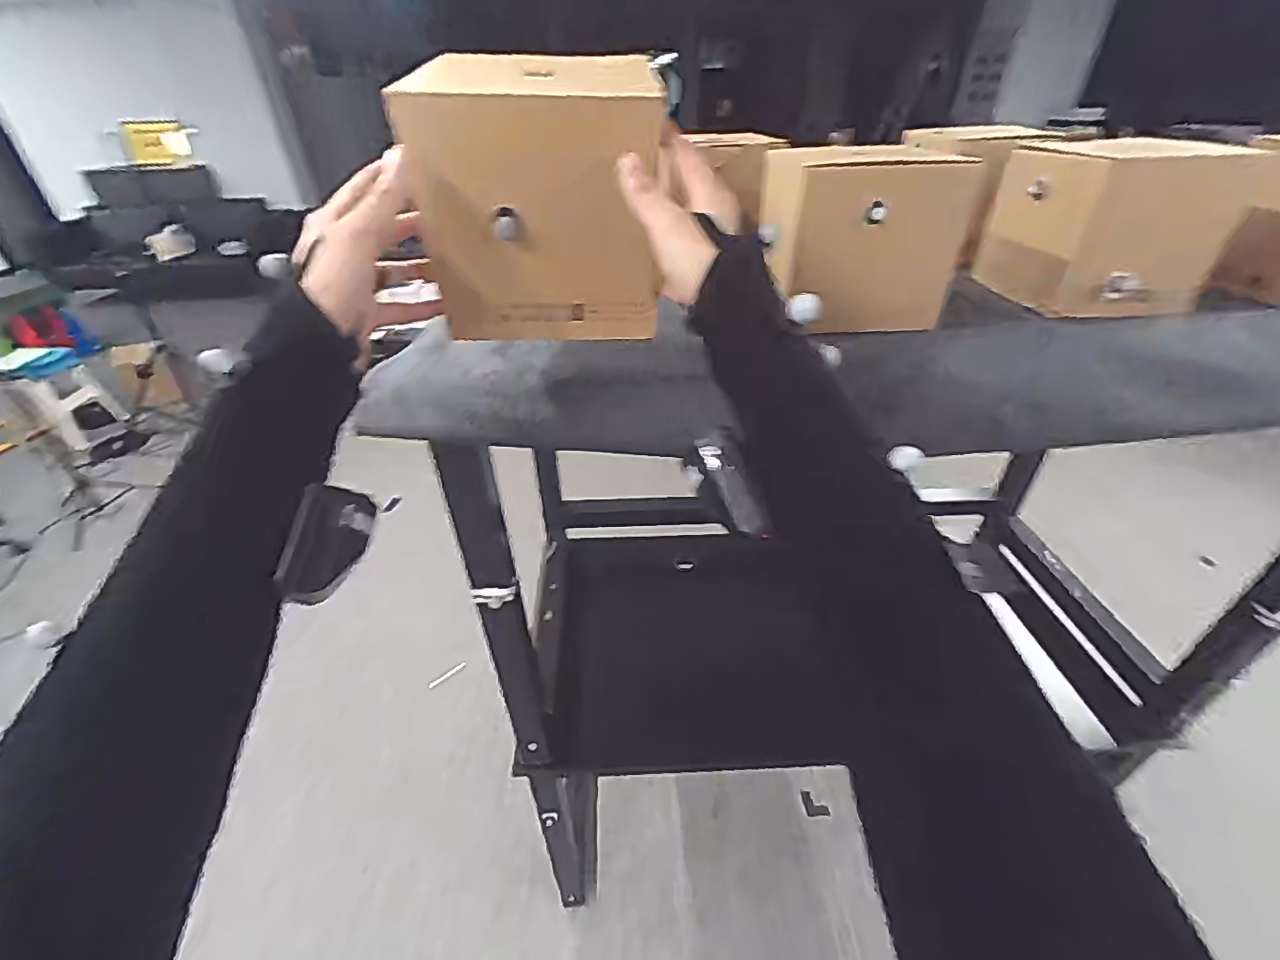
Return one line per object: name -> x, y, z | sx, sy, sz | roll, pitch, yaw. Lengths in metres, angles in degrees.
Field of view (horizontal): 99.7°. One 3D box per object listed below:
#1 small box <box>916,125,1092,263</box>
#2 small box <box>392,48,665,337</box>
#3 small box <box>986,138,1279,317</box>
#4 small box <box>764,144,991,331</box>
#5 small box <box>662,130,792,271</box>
small box -> 0.521, -0.441, 0.835 | 0.179, 0.176, 0.168 | -2, 35, -2
small box -> -0.068, -0.227, 0.431 | 0.168, 0.176, 0.179 | -1, 44, -3
small box -> 0.555, -0.301, 0.642 | 0.168, 0.176, 0.179 | -2, 35, 1
small box -> 0.243, -0.275, 0.611 | 0.179, 0.176, 0.168 | -1, 36, 0
small box -> 0.115, -0.420, 0.816 | 0.168, 0.176, 0.179 | -4, 36, -4
